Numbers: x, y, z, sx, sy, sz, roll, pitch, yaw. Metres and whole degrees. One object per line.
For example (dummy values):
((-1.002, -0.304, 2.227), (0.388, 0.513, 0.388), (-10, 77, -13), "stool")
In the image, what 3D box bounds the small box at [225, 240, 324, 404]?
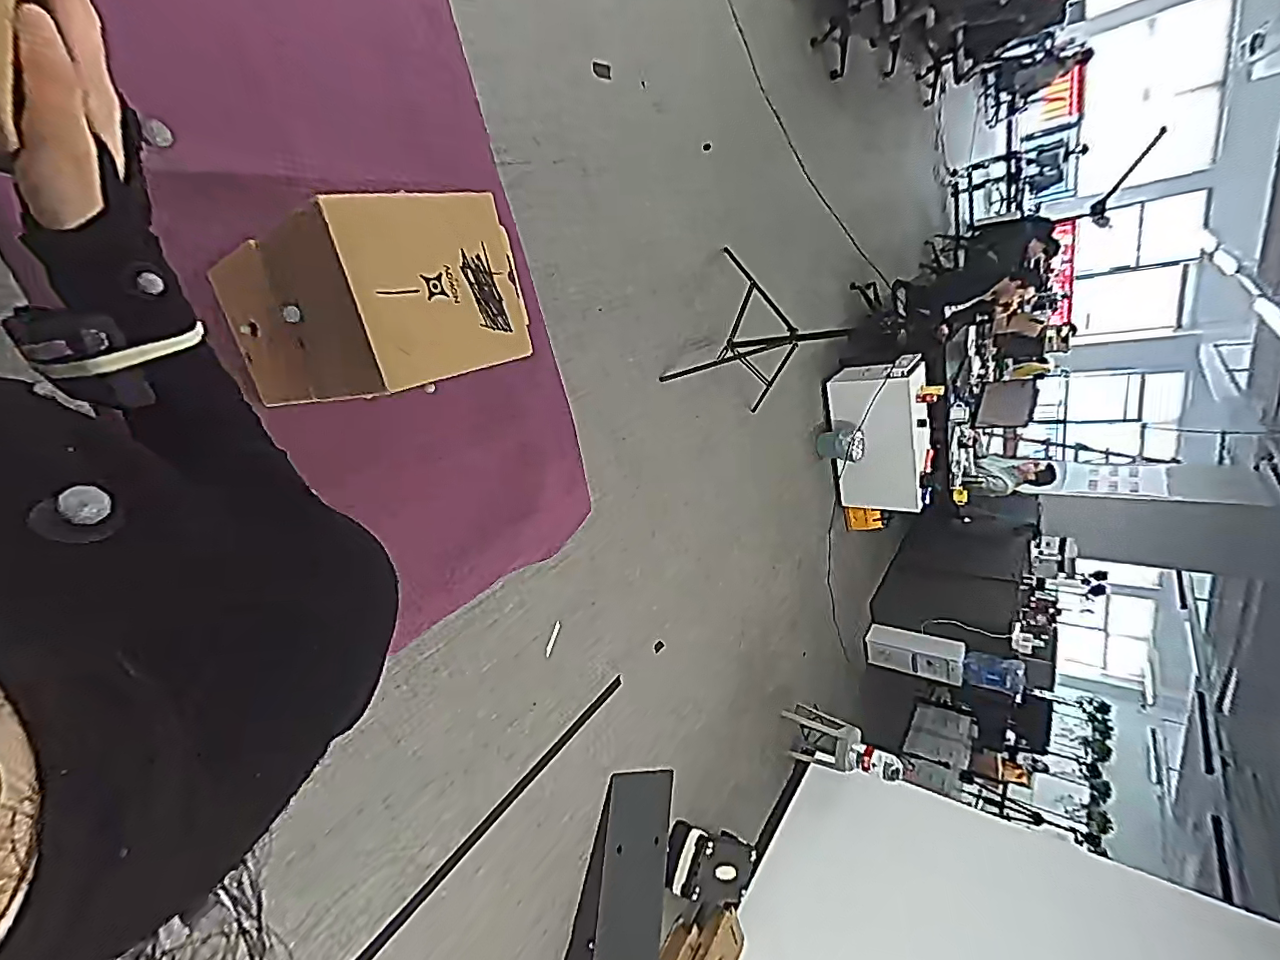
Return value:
((-0.378, -0.195, 0.673), (0.179, 0.176, 0.168), (-32, 117, -45), "small box")

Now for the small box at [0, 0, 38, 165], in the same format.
((-0.325, -0.239, 0.180), (0.168, 0.176, 0.179), (1, 98, -49), "small box")

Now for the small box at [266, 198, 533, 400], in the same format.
((-0.248, -0.187, 0.573), (0.179, 0.176, 0.168), (-31, 116, -44), "small box")
